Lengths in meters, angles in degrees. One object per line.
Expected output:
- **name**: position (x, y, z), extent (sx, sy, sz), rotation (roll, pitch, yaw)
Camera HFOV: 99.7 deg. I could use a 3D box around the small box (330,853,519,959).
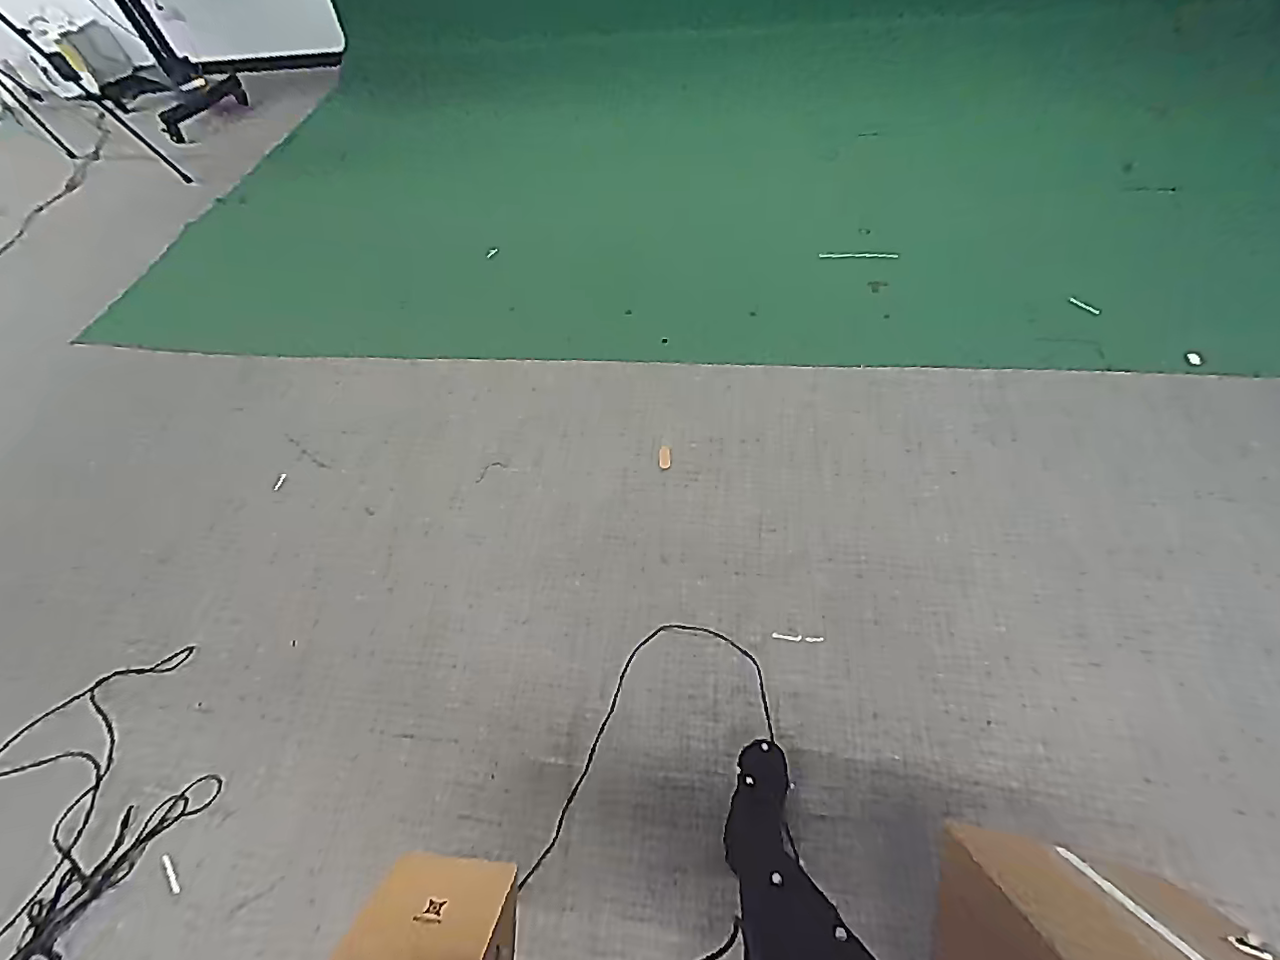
- **small box**: position (-0.257, 0.607, 0.663), extent (0.168, 0.179, 0.176), rotation (3, 92, 3)
